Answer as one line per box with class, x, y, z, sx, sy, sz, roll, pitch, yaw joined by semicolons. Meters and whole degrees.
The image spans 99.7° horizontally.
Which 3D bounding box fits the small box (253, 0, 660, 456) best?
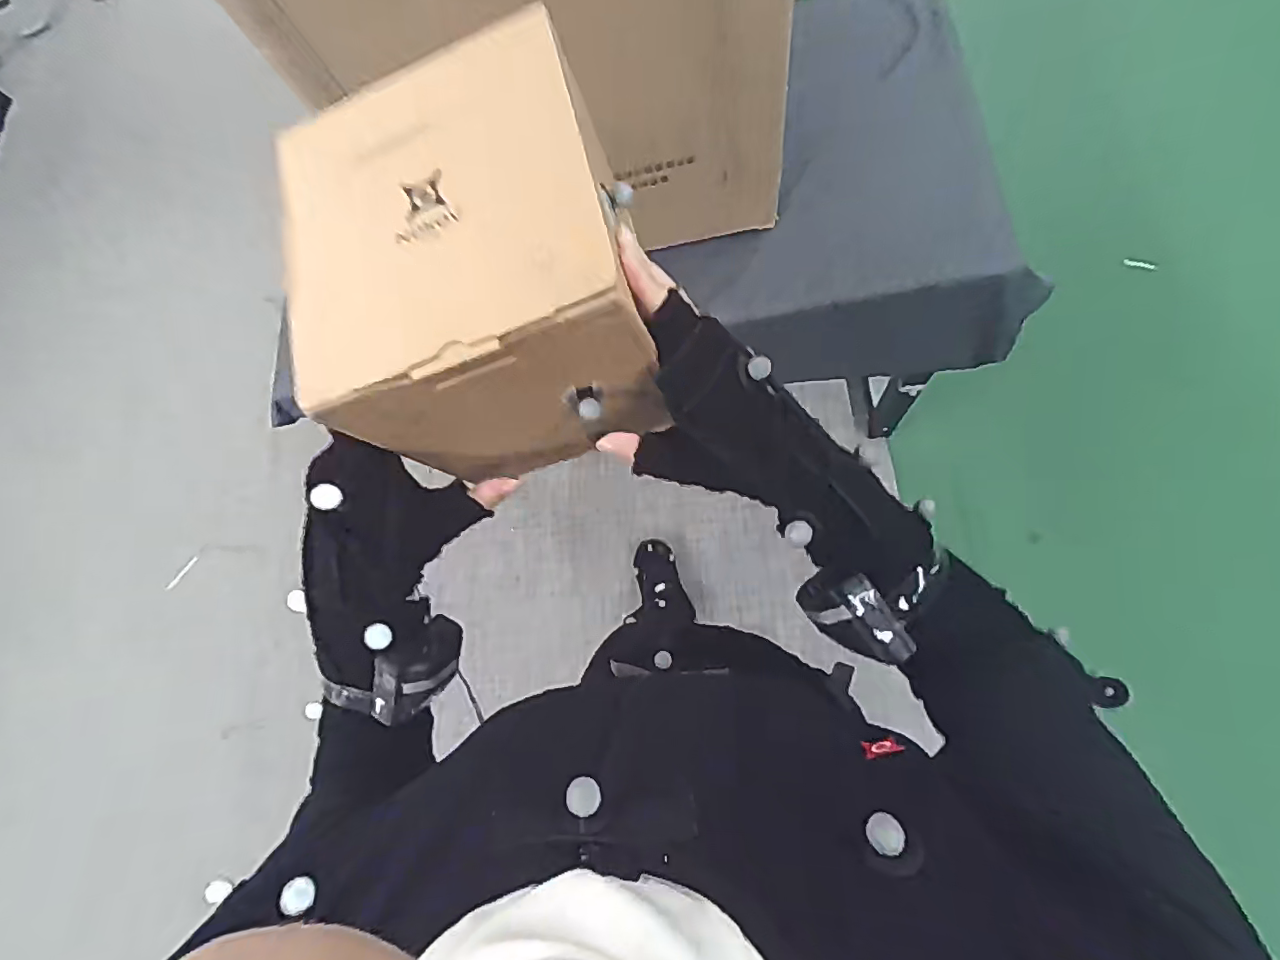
small box;-0.095;-0.125;0.335;0.168;0.176;0.179;-17;74;10
